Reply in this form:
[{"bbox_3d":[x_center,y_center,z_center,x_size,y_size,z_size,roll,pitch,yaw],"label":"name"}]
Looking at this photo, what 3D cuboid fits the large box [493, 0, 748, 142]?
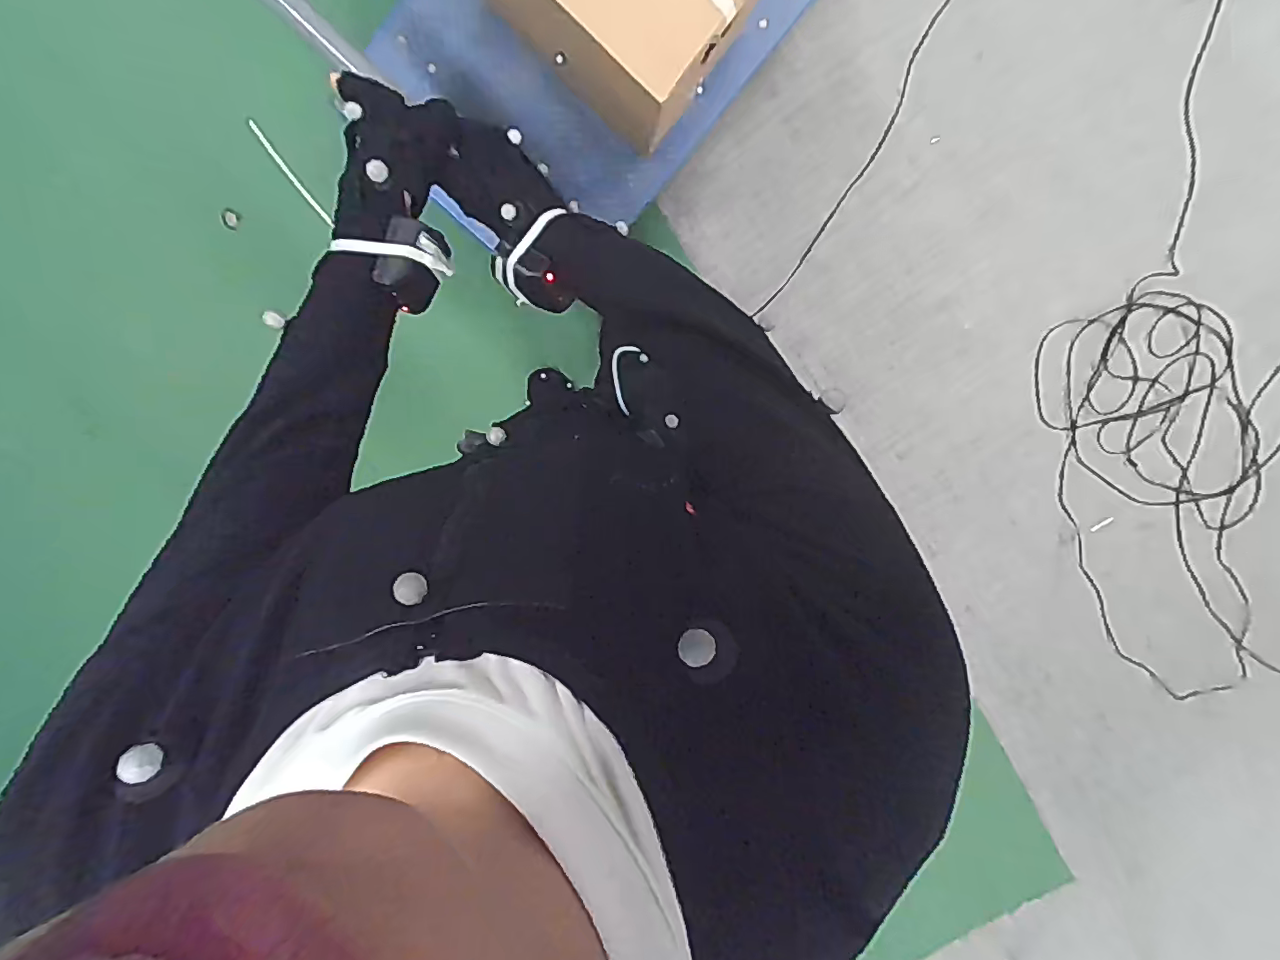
[{"bbox_3d":[-0.033,-0.866,0.889,0.408,0.320,0.320,37,100,-14],"label":"large box"}]
